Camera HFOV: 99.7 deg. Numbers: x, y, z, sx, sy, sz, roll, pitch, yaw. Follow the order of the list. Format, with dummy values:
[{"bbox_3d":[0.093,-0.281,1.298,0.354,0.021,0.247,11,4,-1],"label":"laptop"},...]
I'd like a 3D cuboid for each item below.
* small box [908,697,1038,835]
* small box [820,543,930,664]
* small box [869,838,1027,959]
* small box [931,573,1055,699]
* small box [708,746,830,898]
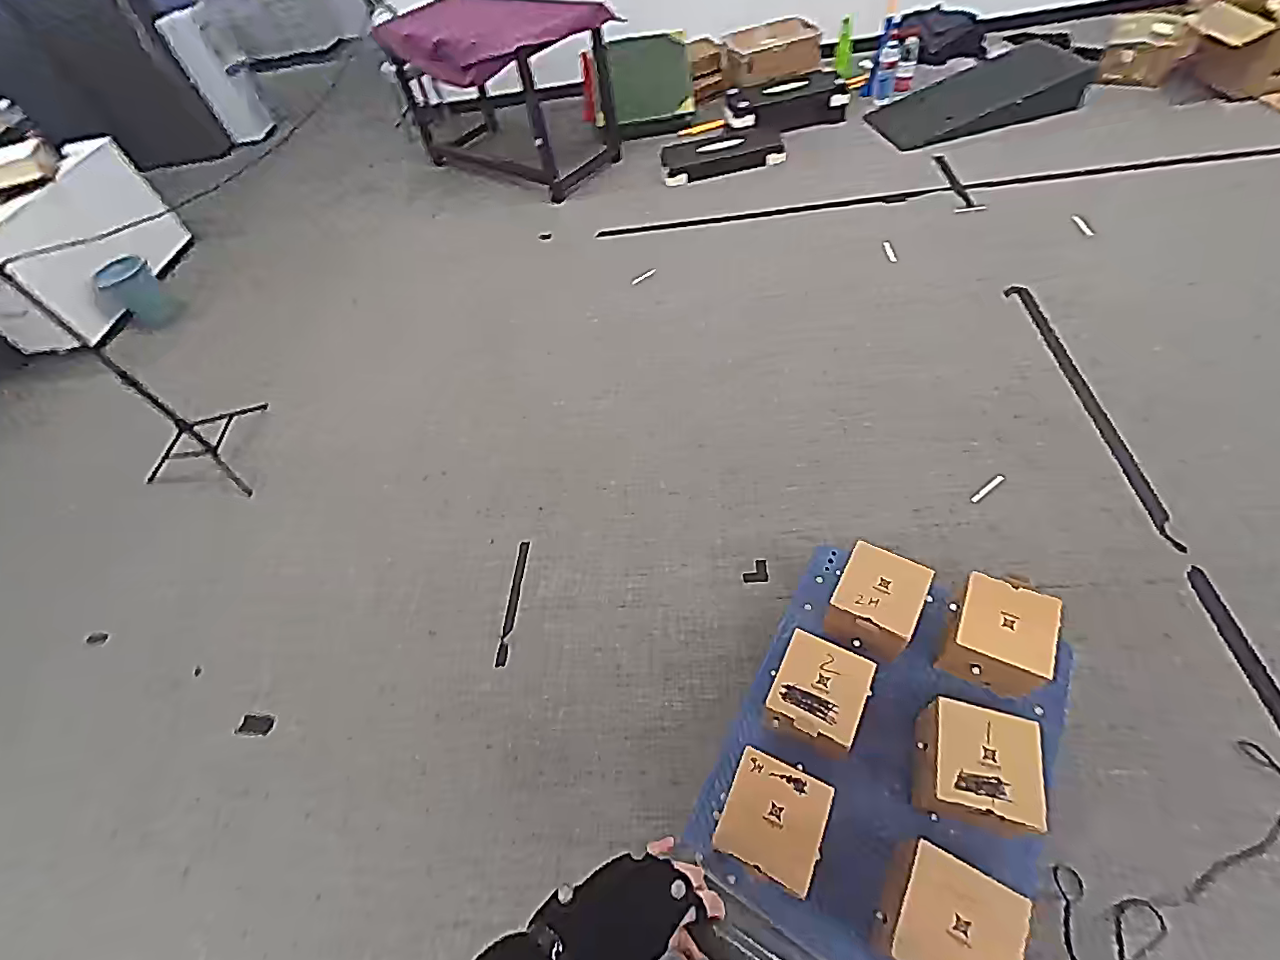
[{"bbox_3d":[0.613,0.539,1.012,0.168,0.176,0.179,11,56,17],"label":"small box"},{"bbox_3d":[0.520,0.280,1.216,0.168,0.176,0.179,24,62,24],"label":"small box"},{"bbox_3d":[0.494,0.732,0.890,0.168,0.176,0.179,23,60,23],"label":"small box"},{"bbox_3d":[0.737,0.334,1.143,0.168,0.176,0.179,19,59,22],"label":"small box"},{"bbox_3d":[0.237,0.632,1.004,0.168,0.176,0.179,20,60,21],"label":"small box"}]
